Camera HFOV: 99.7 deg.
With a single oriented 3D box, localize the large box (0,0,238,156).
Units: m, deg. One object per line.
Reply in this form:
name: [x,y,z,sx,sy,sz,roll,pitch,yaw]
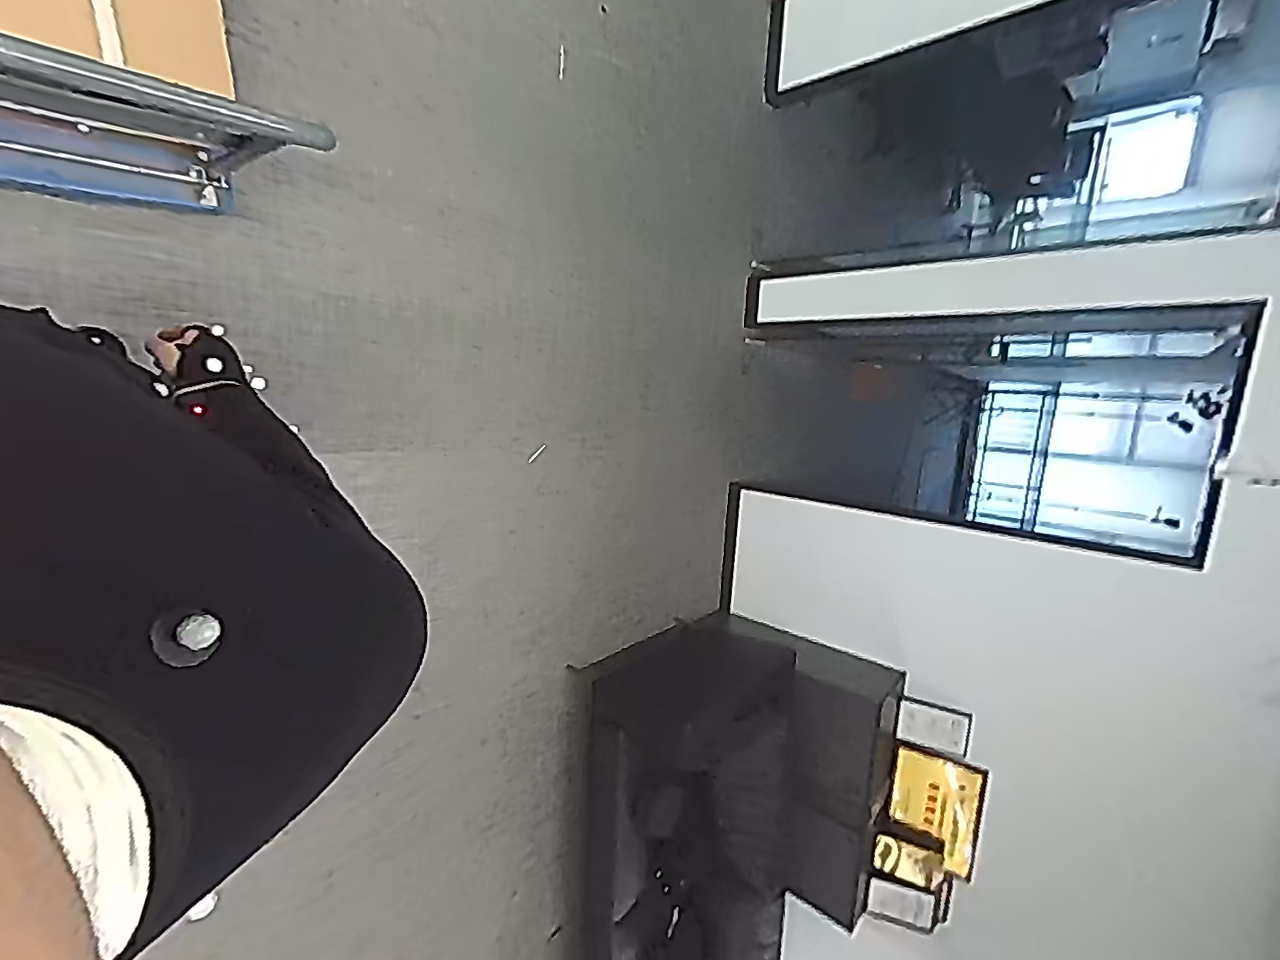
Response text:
large box: [-0.903,-0.803,0.862,0.320,0.320,0.408,-17,110,-48]
